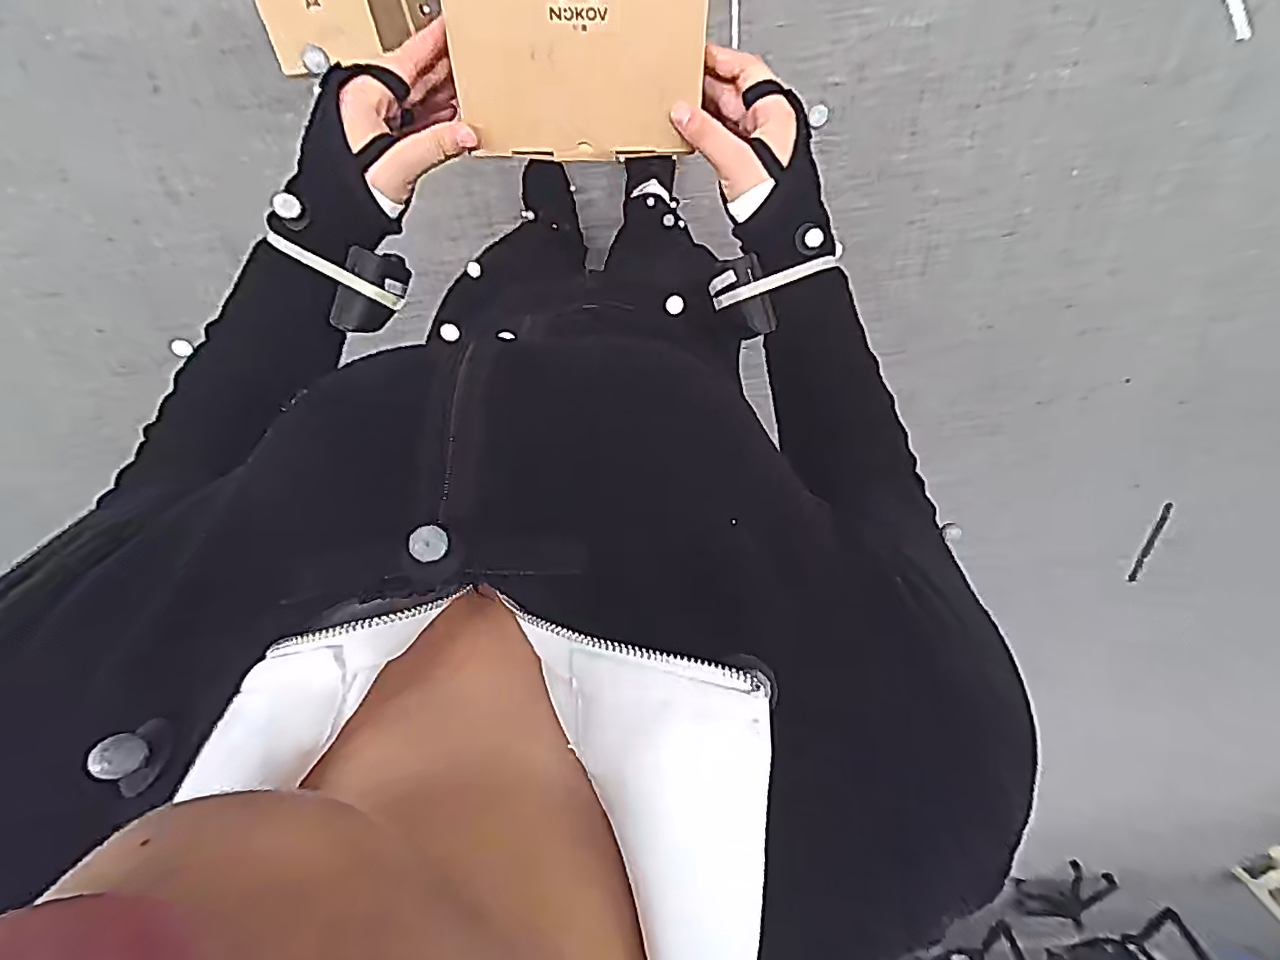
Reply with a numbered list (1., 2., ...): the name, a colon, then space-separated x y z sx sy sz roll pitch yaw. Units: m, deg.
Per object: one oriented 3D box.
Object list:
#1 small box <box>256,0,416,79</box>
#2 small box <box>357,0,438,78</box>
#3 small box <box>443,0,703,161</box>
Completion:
1. small box: -0.484 -0.755 0.856 0.168 0.176 0.179 -6 125 3
2. small box: -0.487 -0.850 0.987 0.179 0.176 0.168 -7 124 3
3. small box: -0.047 -0.353 0.395 0.168 0.176 0.179 -3 133 -5
